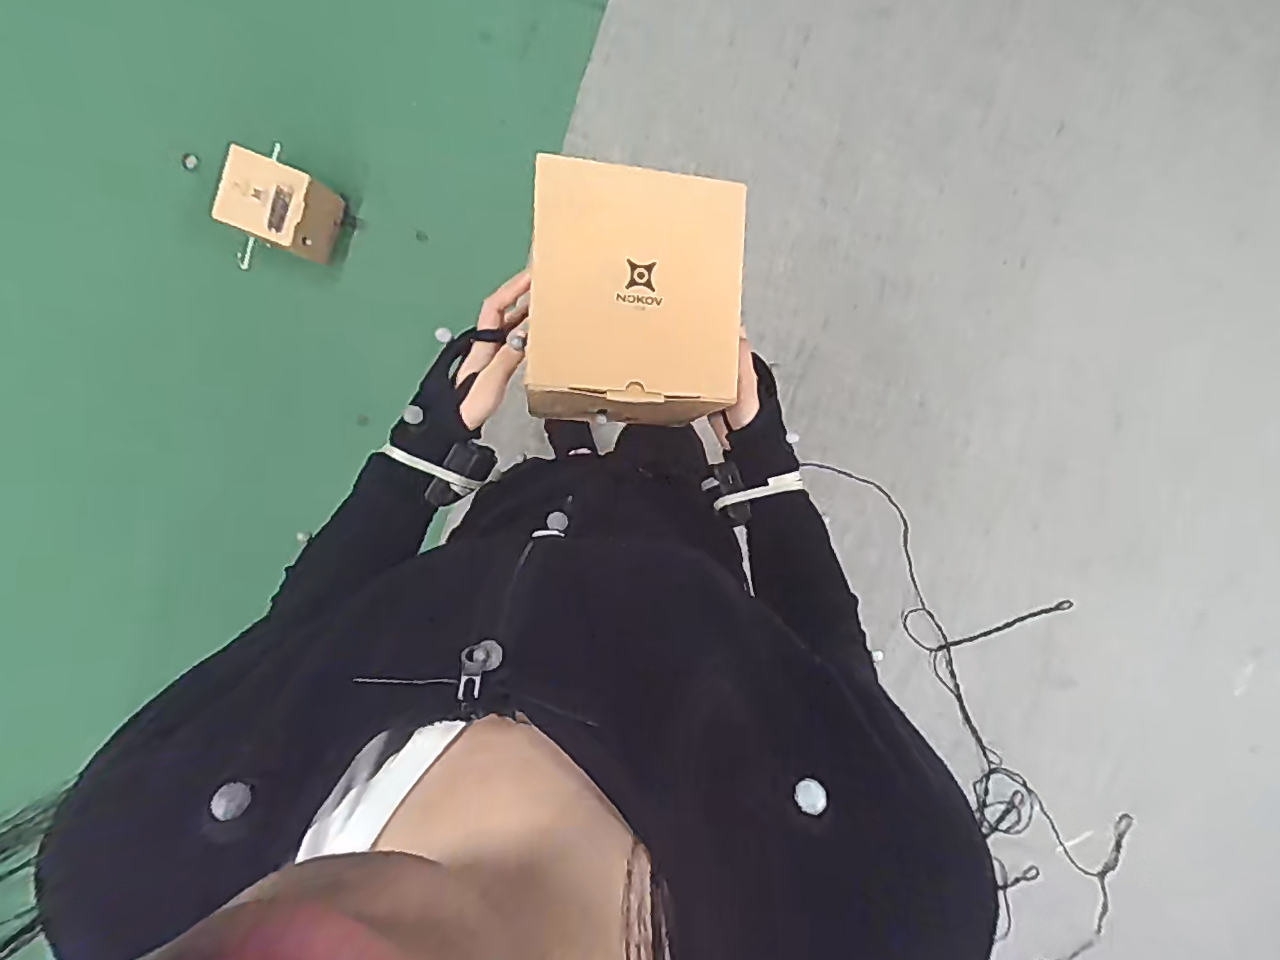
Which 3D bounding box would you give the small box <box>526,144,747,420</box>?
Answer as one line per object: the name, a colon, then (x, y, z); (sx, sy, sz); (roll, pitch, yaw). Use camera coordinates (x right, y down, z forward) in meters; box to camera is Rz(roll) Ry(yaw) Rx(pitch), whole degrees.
small box: (-0.015, -0.154, 0.484); (0.168, 0.176, 0.179); (2, 90, -10)
